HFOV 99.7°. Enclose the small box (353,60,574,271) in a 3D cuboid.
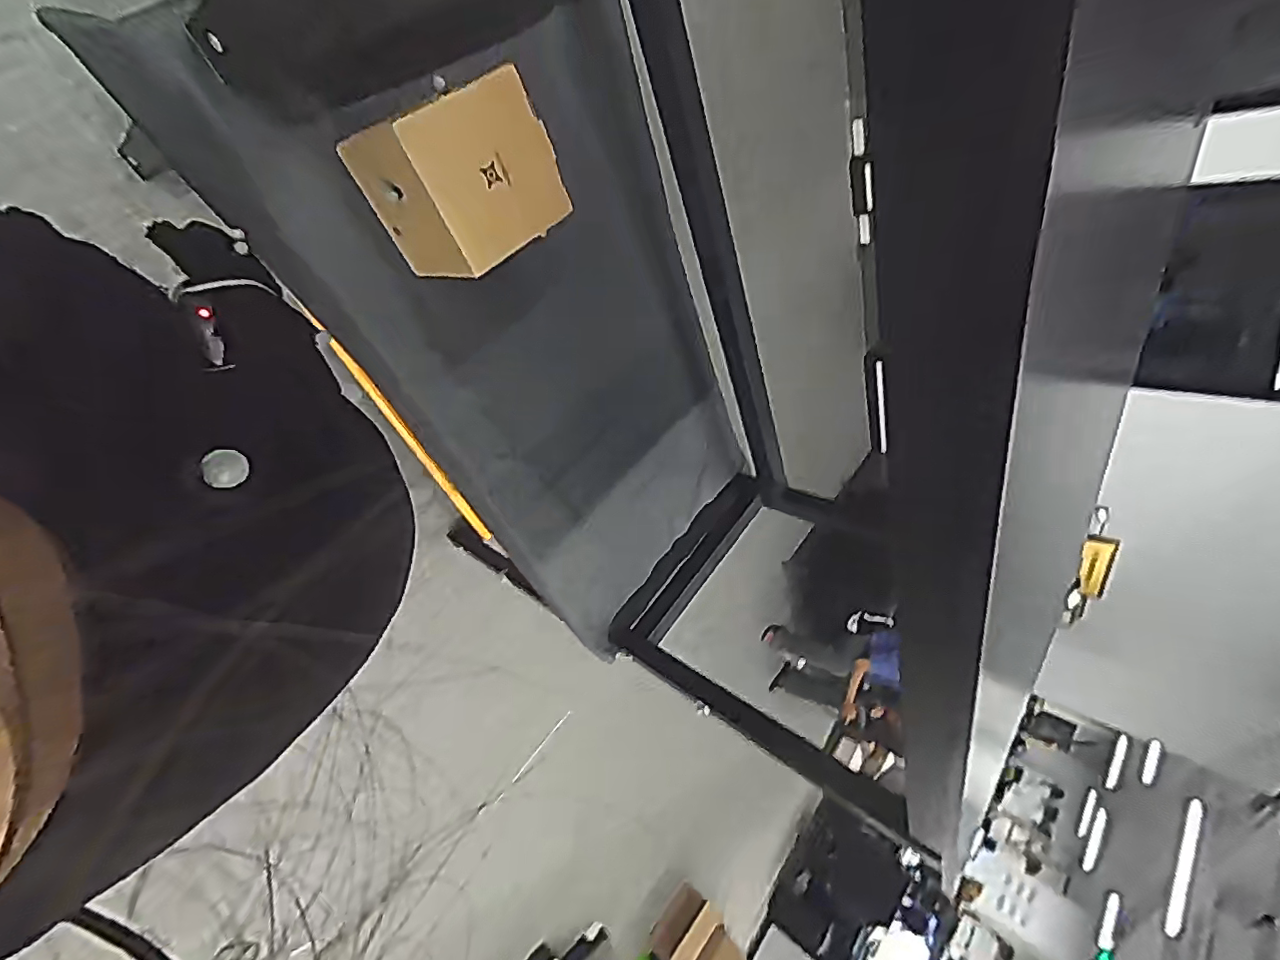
[{"bbox_3d":[-0.221,-0.375,0.669,0.179,0.176,0.168,-48,135,-25],"label":"small box"}]
